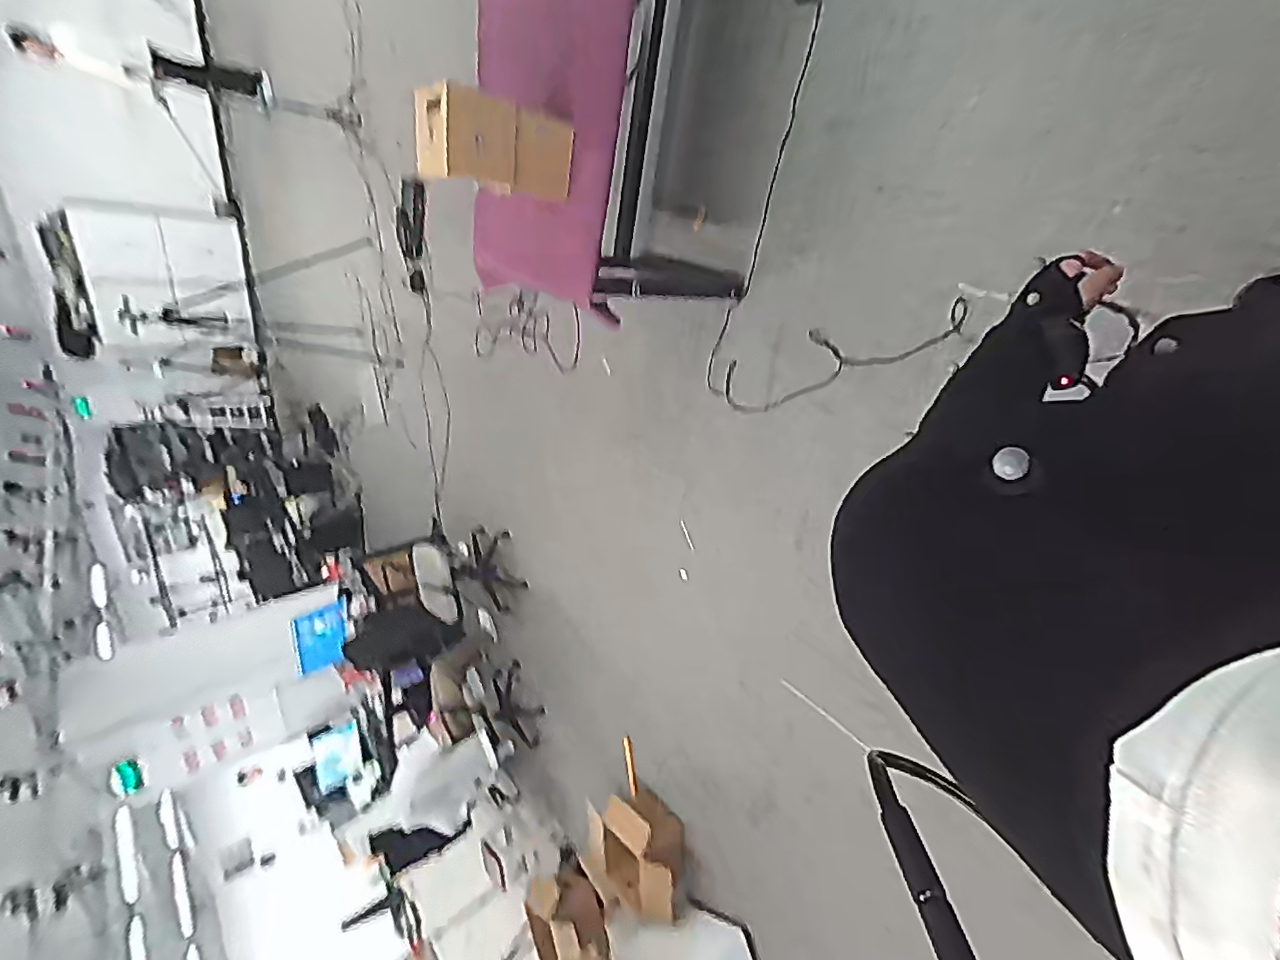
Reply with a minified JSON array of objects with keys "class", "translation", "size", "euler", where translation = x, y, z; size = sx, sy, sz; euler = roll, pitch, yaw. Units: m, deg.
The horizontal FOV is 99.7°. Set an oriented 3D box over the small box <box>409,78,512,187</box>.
[{"class":"small box","translation":[-0.406,-0.785,1.232],"size":[0.168,0.176,0.179],"euler":[30,123,38]}]
